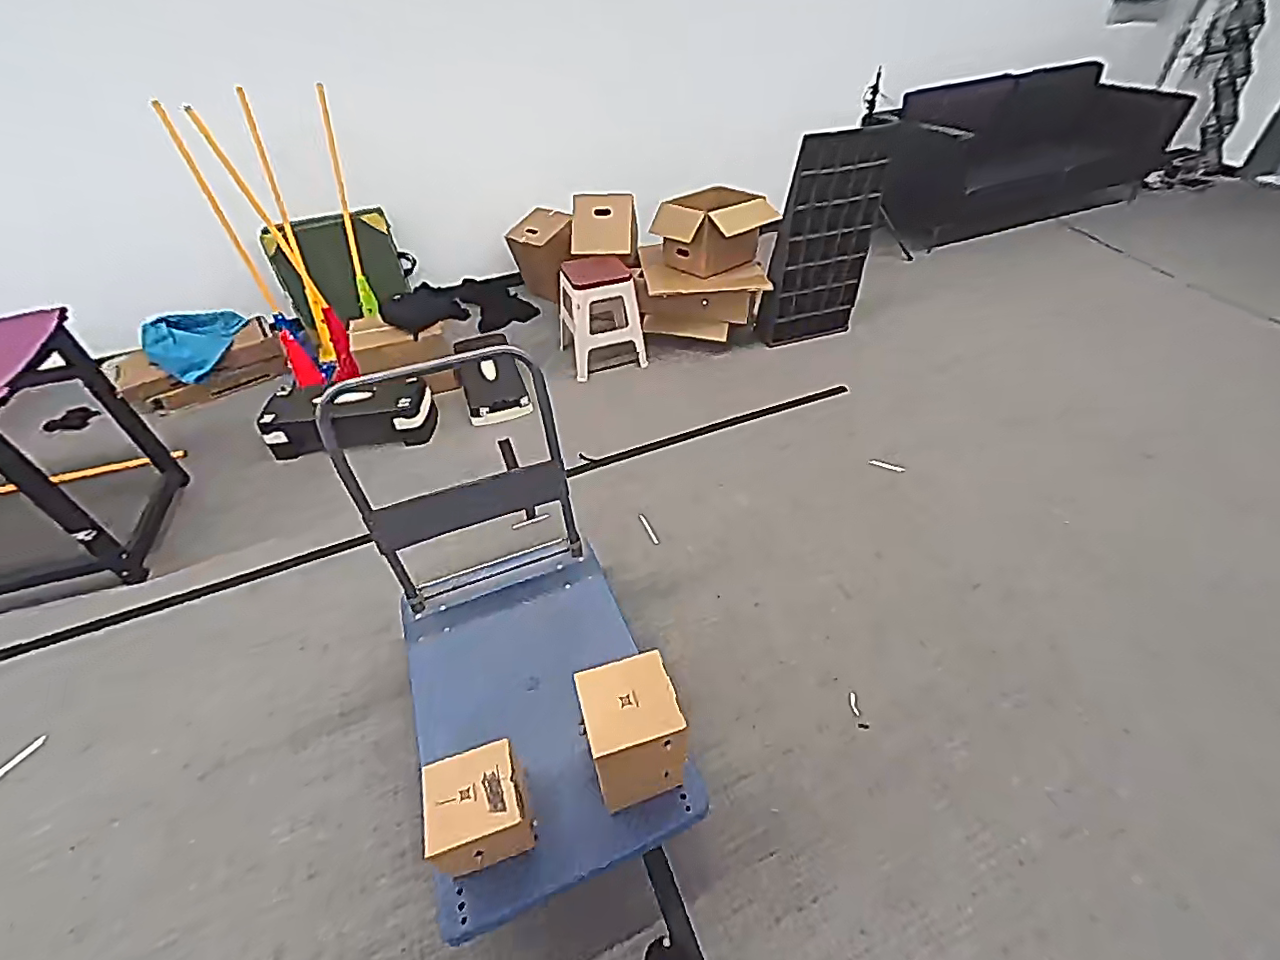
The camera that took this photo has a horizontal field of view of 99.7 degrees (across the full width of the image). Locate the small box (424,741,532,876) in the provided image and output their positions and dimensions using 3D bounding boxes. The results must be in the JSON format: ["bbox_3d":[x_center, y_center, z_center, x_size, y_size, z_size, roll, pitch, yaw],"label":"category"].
[{"bbox_3d":[-0.324,0.667,1.098,0.179,0.176,0.168,-15,44,-11],"label":"small box"}]

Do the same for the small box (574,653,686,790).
[{"bbox_3d":[-0.019,0.472,1.054,0.179,0.176,0.168,-12,44,-12],"label":"small box"}]
